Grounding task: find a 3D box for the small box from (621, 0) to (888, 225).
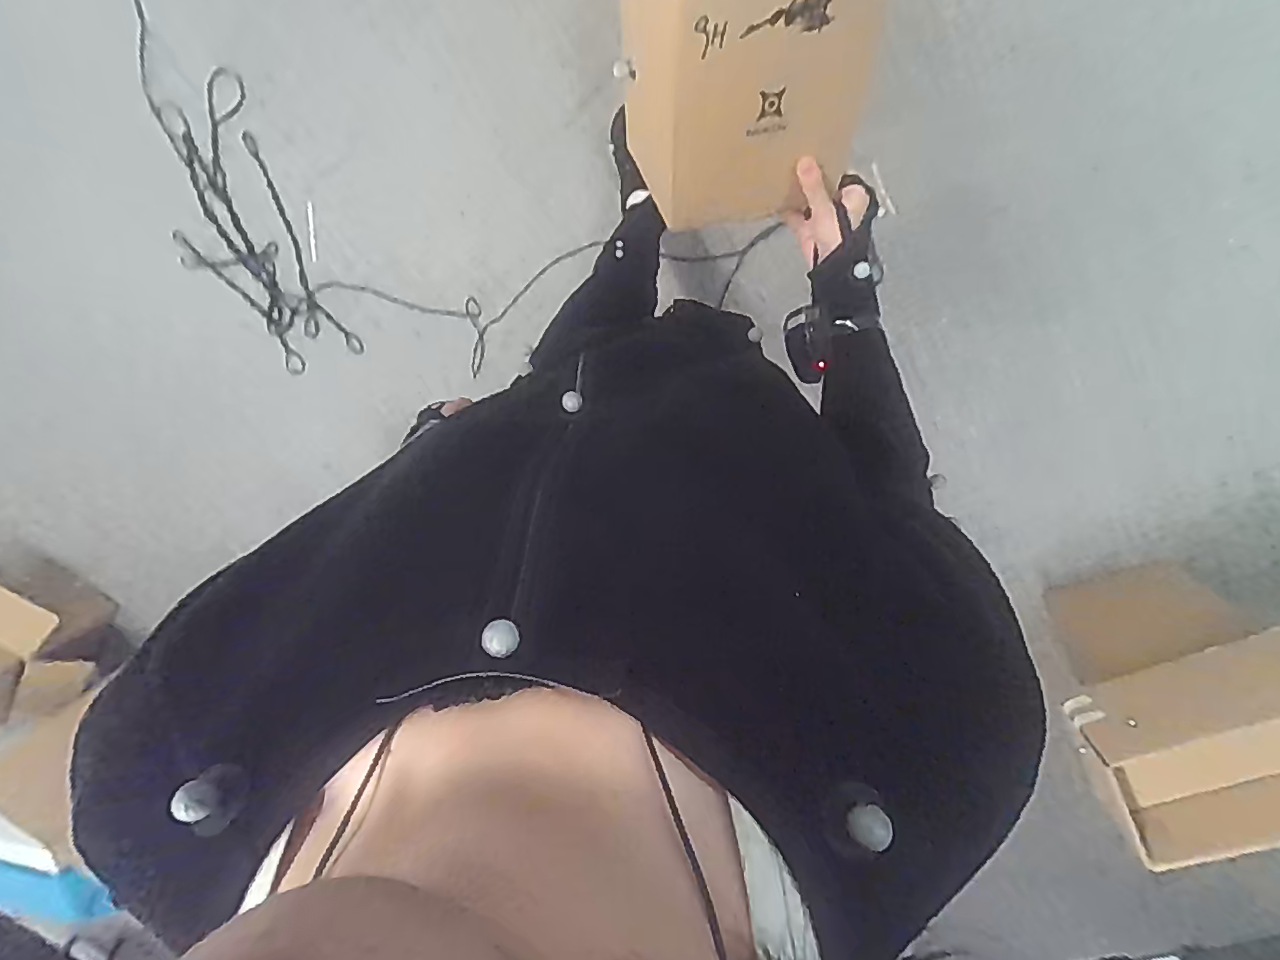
[{"bbox_3d":[0.082,-0.364,0.477,0.168,0.176,0.179,-14,149,-6],"label":"small box"}]
